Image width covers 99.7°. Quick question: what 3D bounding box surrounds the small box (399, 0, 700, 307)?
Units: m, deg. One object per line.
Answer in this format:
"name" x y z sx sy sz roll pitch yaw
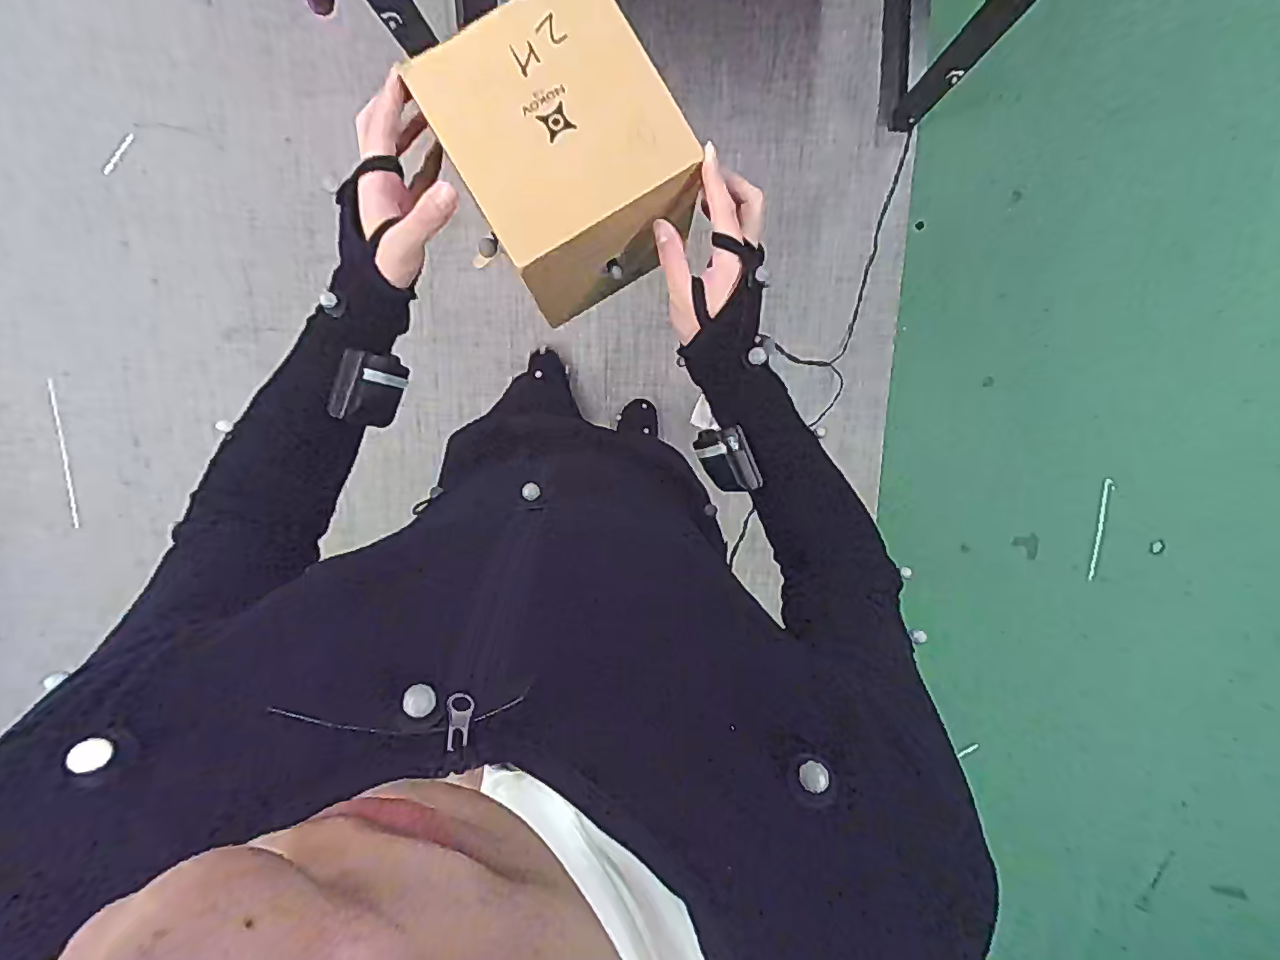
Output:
"small box" -0.065 -0.274 0.474 0.168 0.176 0.179 -30 90 -1
